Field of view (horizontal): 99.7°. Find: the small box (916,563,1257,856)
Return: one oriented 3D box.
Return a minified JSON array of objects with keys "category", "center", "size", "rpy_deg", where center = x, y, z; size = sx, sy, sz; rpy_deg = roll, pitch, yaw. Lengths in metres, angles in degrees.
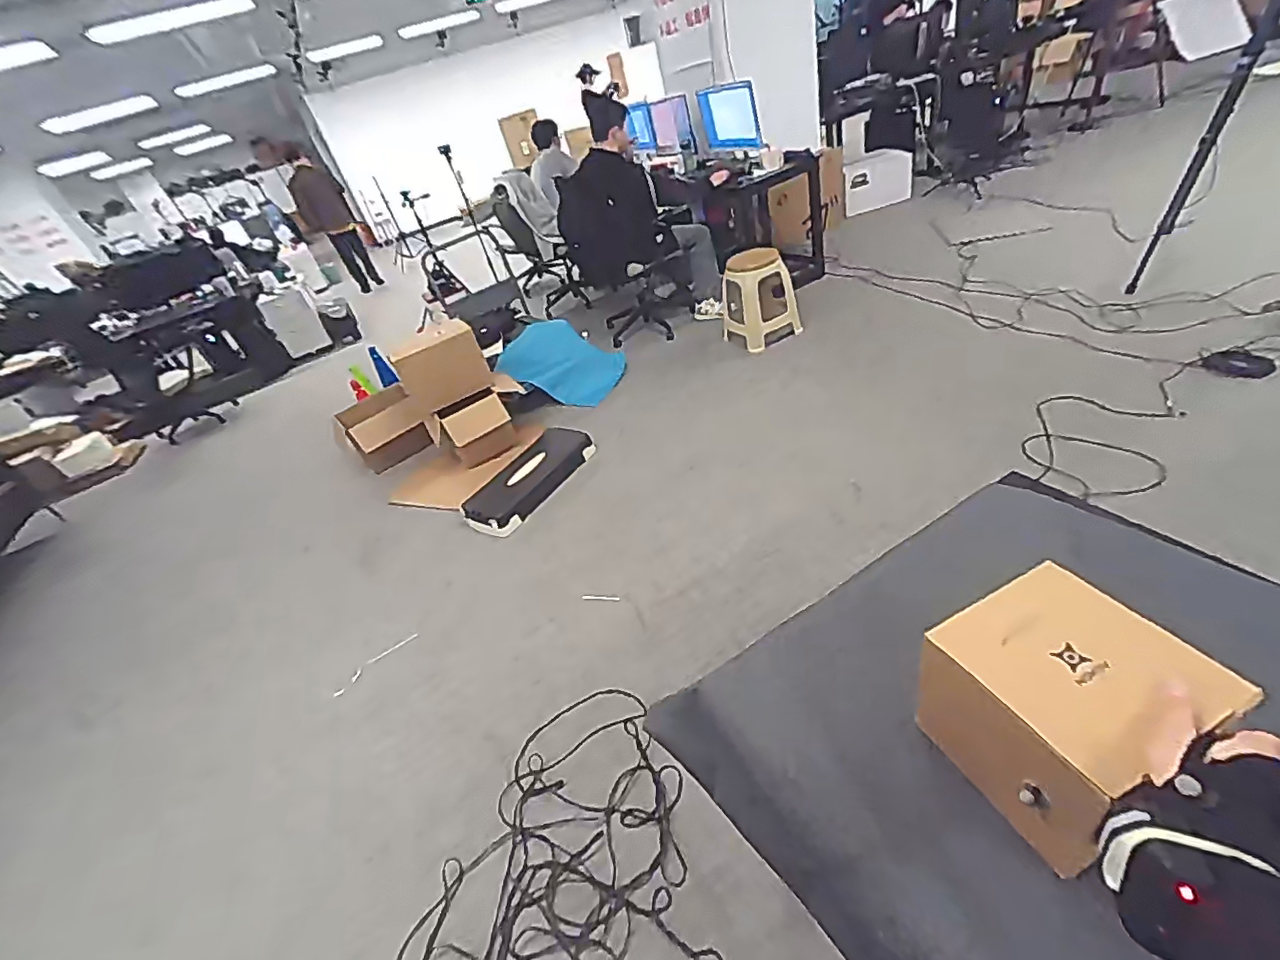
[{"category":"small box","center":[0.397,0.220,0.519],"size":[0.168,0.176,0.179],"rpy_deg":[-25,35,-12]}]
